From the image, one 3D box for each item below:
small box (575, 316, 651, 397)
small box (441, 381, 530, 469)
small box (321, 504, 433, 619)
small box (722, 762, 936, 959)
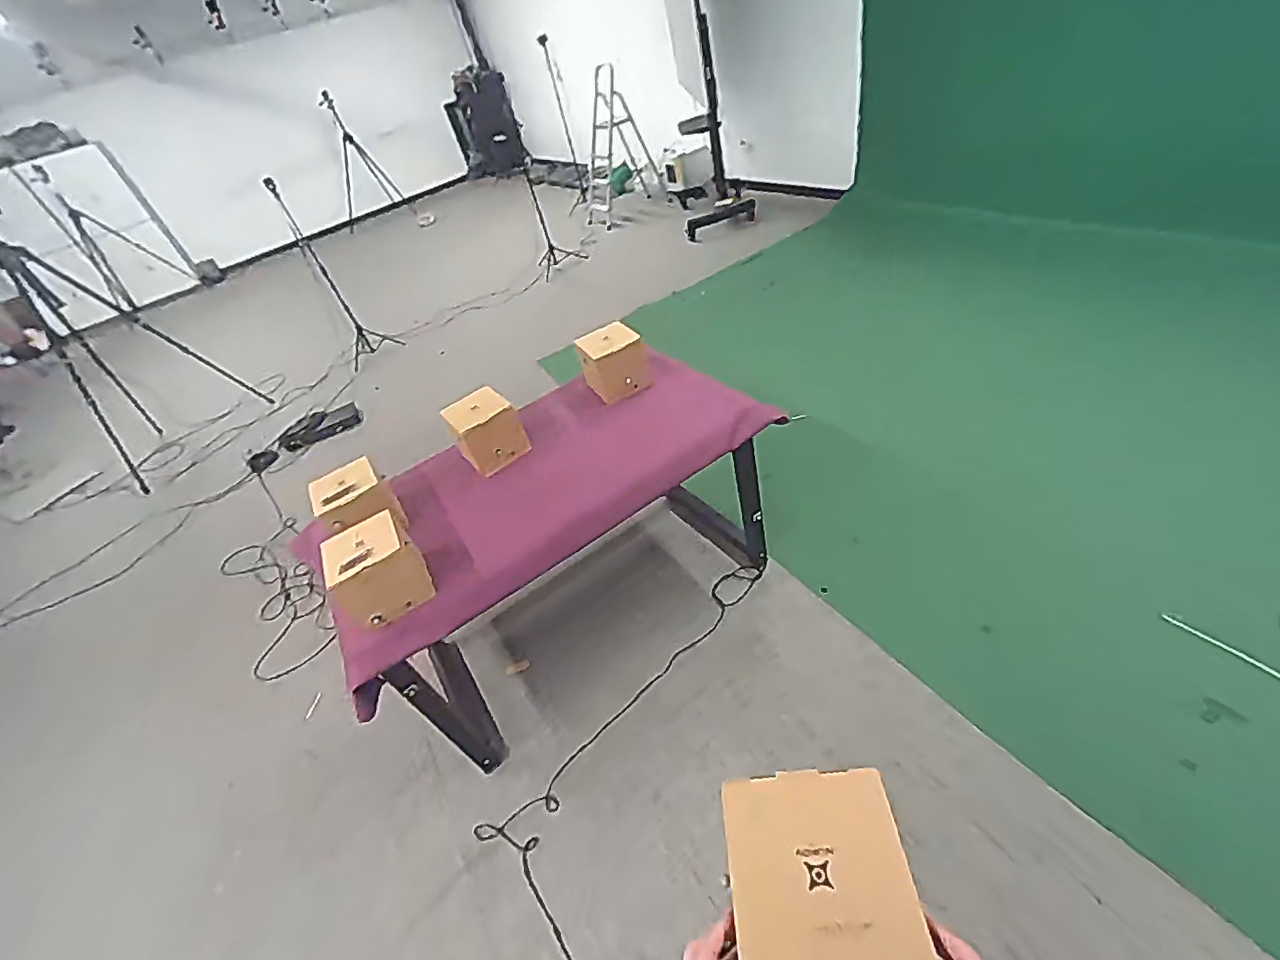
[{"bbox_3d":[-0.084,-0.391,1.720,0.168,0.176,0.179,-29,43,-12],"label":"small box"},{"bbox_3d":[-0.453,-0.161,1.595,0.168,0.176,0.179,-35,45,-20],"label":"small box"},{"bbox_3d":[-0.601,0.194,1.247,0.168,0.176,0.179,-30,41,-15],"label":"small box"},{"bbox_3d":[0.180,0.420,0.560,0.168,0.176,0.179,-8,41,7],"label":"small box"}]
